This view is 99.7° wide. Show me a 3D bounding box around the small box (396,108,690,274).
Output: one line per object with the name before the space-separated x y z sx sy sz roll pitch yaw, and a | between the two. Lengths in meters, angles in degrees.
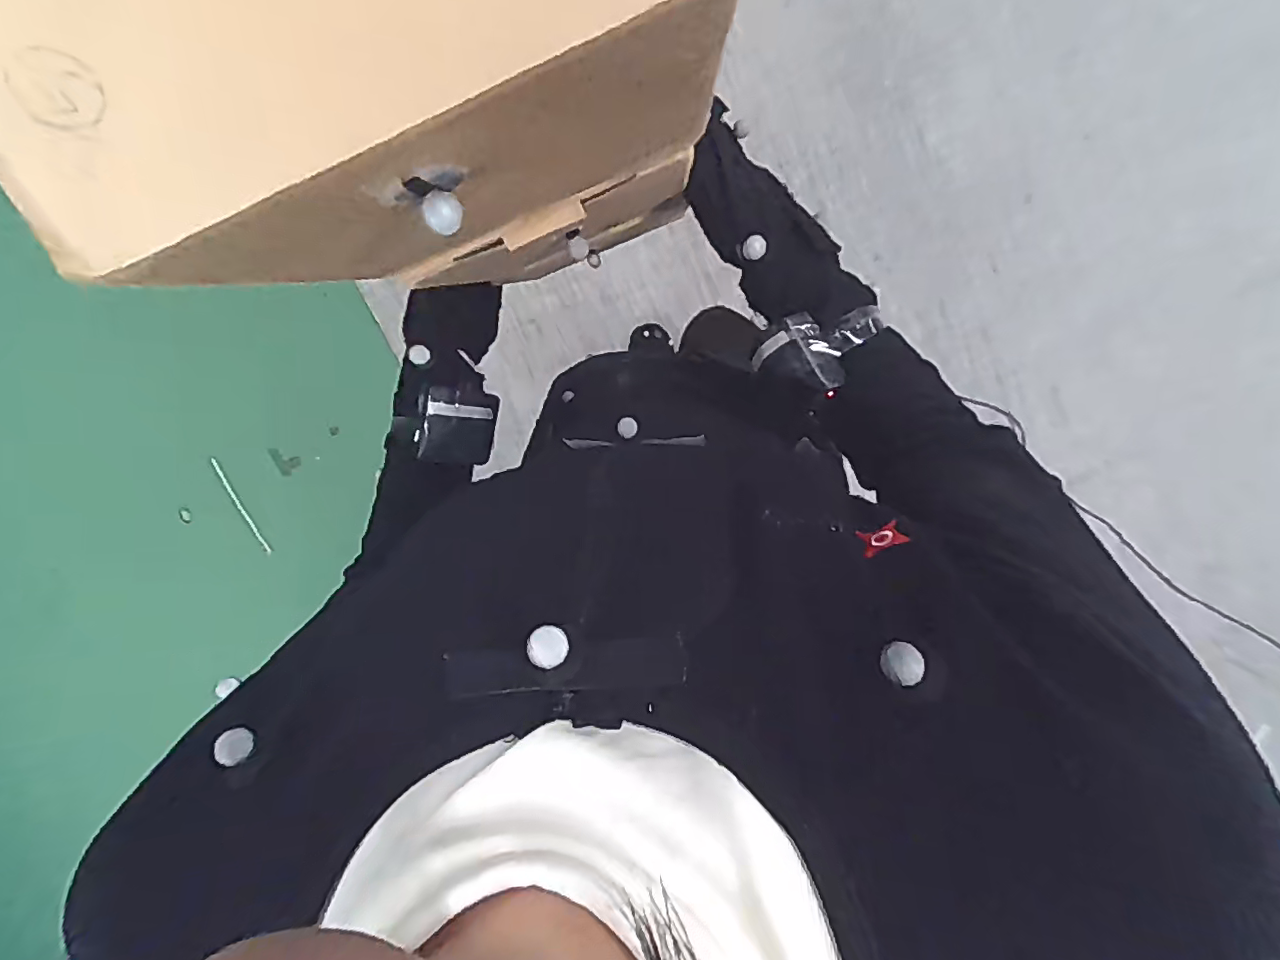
small box | -0.076 -0.241 0.317 0.168 0.176 0.179 -20 111 11

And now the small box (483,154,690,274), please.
small box | -0.066 -0.295 0.471 0.179 0.176 0.168 -18 110 11
